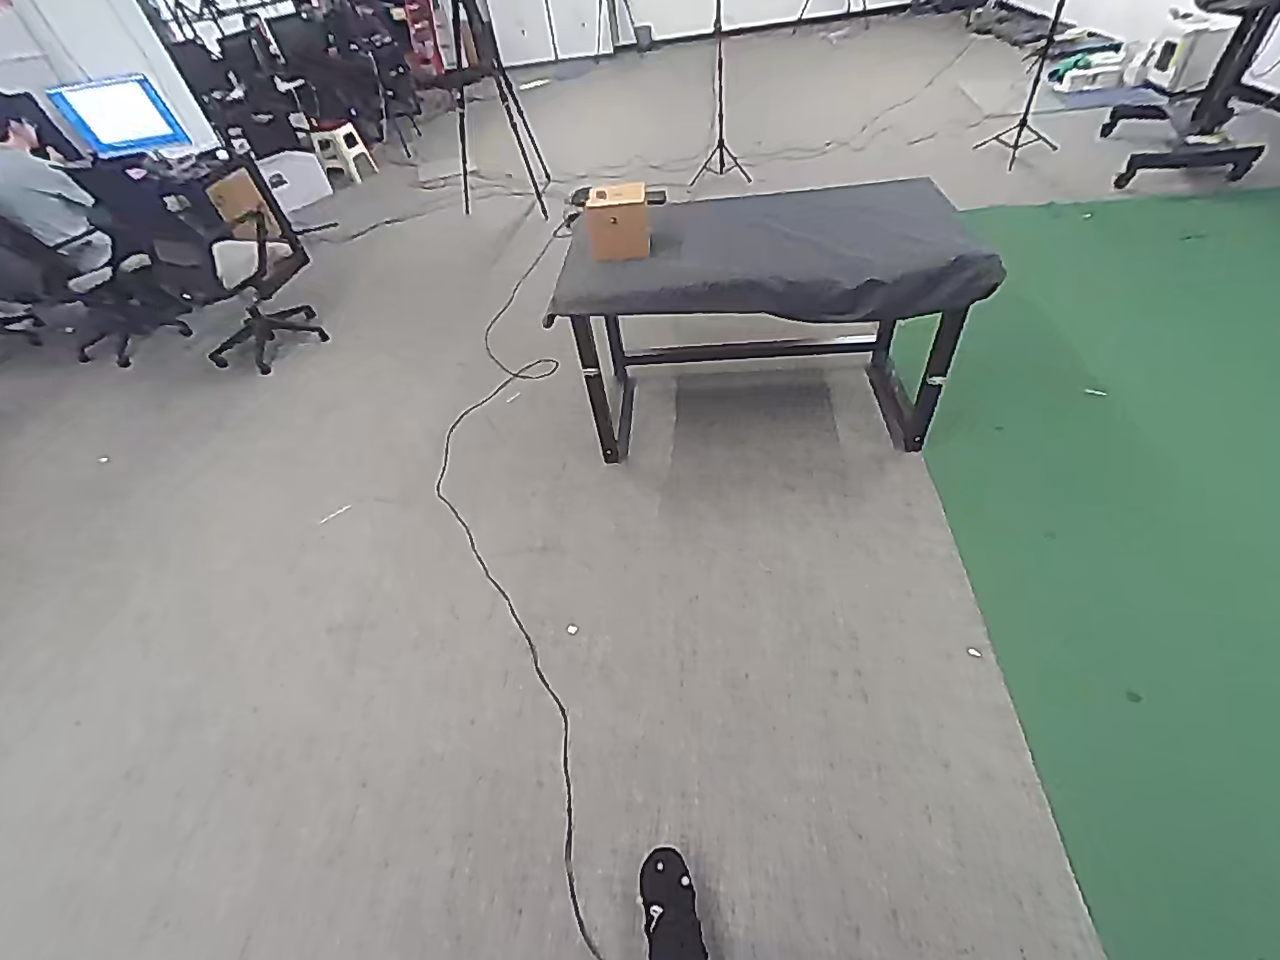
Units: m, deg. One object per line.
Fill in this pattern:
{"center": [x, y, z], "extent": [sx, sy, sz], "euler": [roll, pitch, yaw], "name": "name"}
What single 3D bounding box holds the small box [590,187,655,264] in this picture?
{"center": [-0.050, -0.795, 1.698], "extent": [0.179, 0.176, 0.168], "euler": [-3, 46, 5], "name": "small box"}
